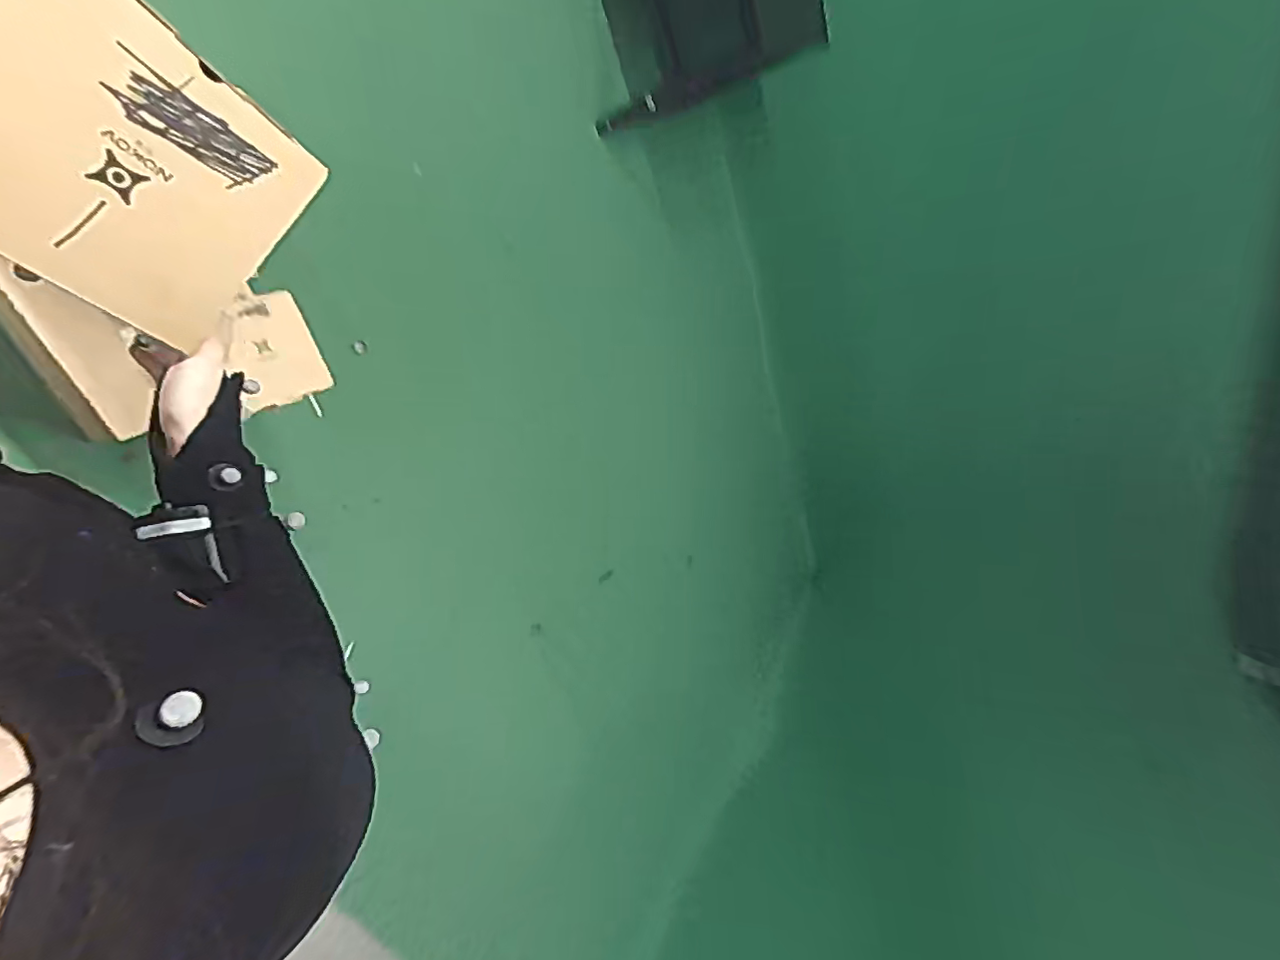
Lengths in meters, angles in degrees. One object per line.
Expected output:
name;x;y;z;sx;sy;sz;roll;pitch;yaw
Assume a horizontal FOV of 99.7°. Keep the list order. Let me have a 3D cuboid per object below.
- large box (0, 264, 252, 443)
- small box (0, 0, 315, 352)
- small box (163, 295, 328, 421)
large box;-0.956;-0.313;1.007;0.320;0.320;0.408;-41;123;-41
small box;-0.378;-0.221;0.381;0.168;0.176;0.179;38;81;-48
small box;-0.693;-0.210;0.947;0.168;0.176;0.179;-36;118;-45
